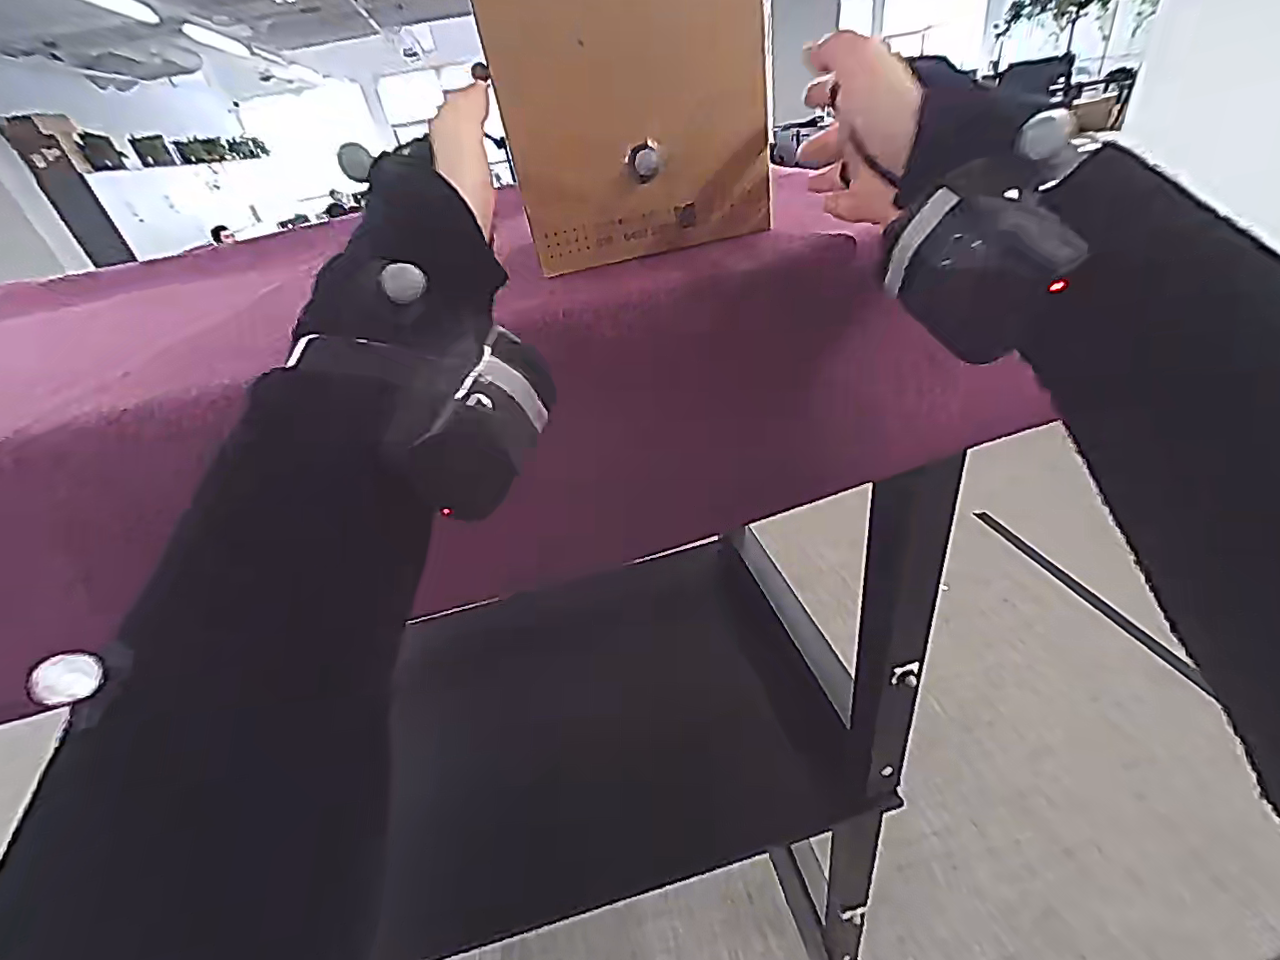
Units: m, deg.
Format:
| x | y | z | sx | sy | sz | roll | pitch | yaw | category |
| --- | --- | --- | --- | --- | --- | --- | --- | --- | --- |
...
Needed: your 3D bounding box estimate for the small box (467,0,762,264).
| x | y | z | sx | sy | sz | roll | pitch | yaw | category |
| --- | --- | --- | --- | --- | --- | --- | --- | --- | --- |
| -0.019 | -0.269 | 0.395 | 0.168 | 0.176 | 0.179 | -14 | 33 | -3 | small box |
